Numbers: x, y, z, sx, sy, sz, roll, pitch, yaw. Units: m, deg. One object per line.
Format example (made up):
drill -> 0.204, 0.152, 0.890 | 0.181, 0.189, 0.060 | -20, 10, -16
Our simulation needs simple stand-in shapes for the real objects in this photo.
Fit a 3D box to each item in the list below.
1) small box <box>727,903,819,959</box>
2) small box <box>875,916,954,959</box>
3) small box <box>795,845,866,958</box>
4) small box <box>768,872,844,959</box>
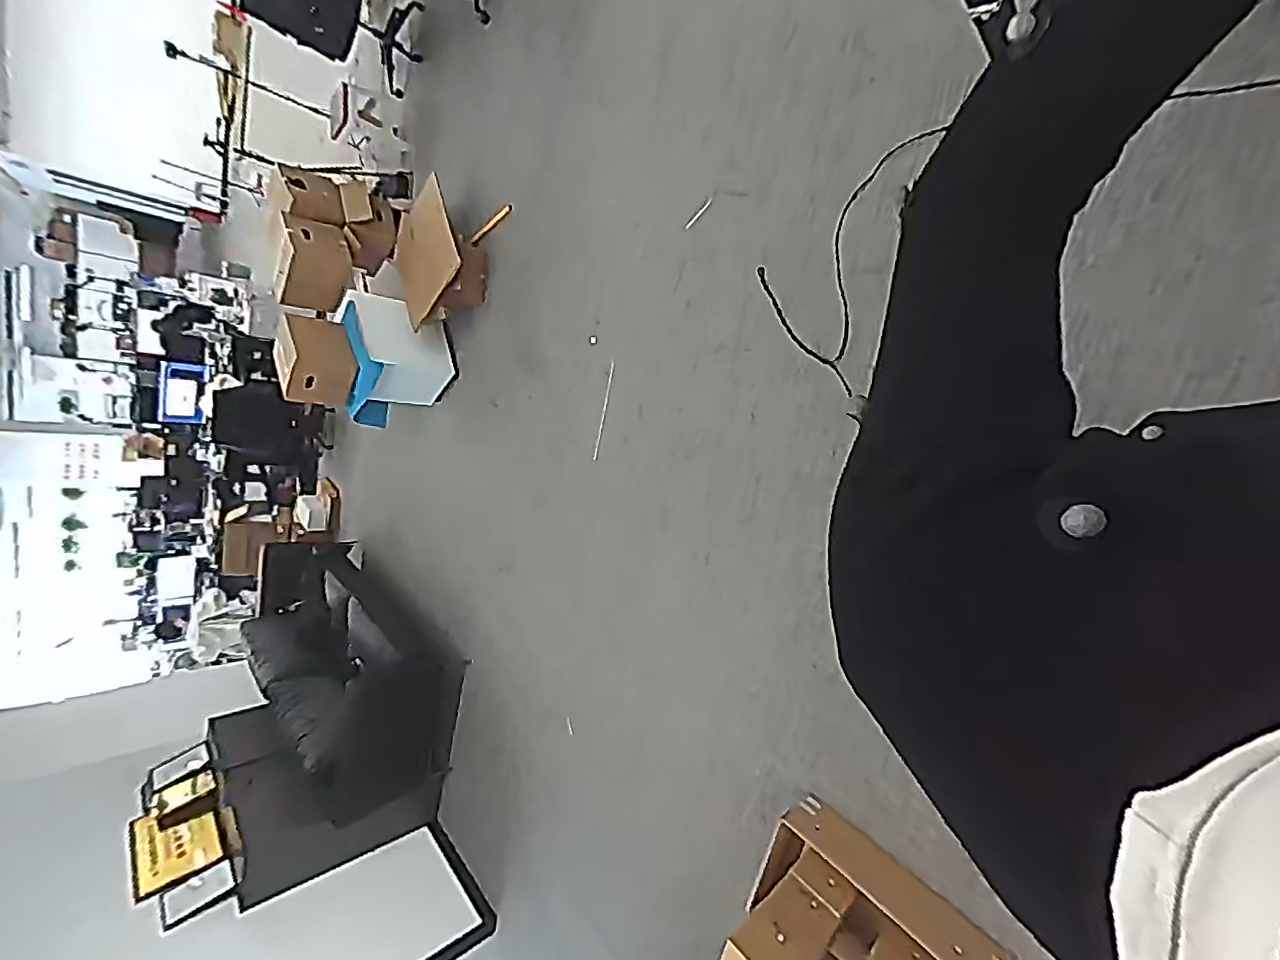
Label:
small box -> 0.334, 1.257, 1.389 | 0.168, 0.176, 0.179 | 25, 107, 39
small box -> 0.732, 1.340, 1.453 | 0.168, 0.176, 0.179 | 24, 107, 44
small box -> 0.557, 1.256, 1.628 | 0.168, 0.176, 0.179 | 25, 107, 41
small box -> 0.444, 1.261, 1.510 | 0.168, 0.176, 0.179 | 27, 108, 39
